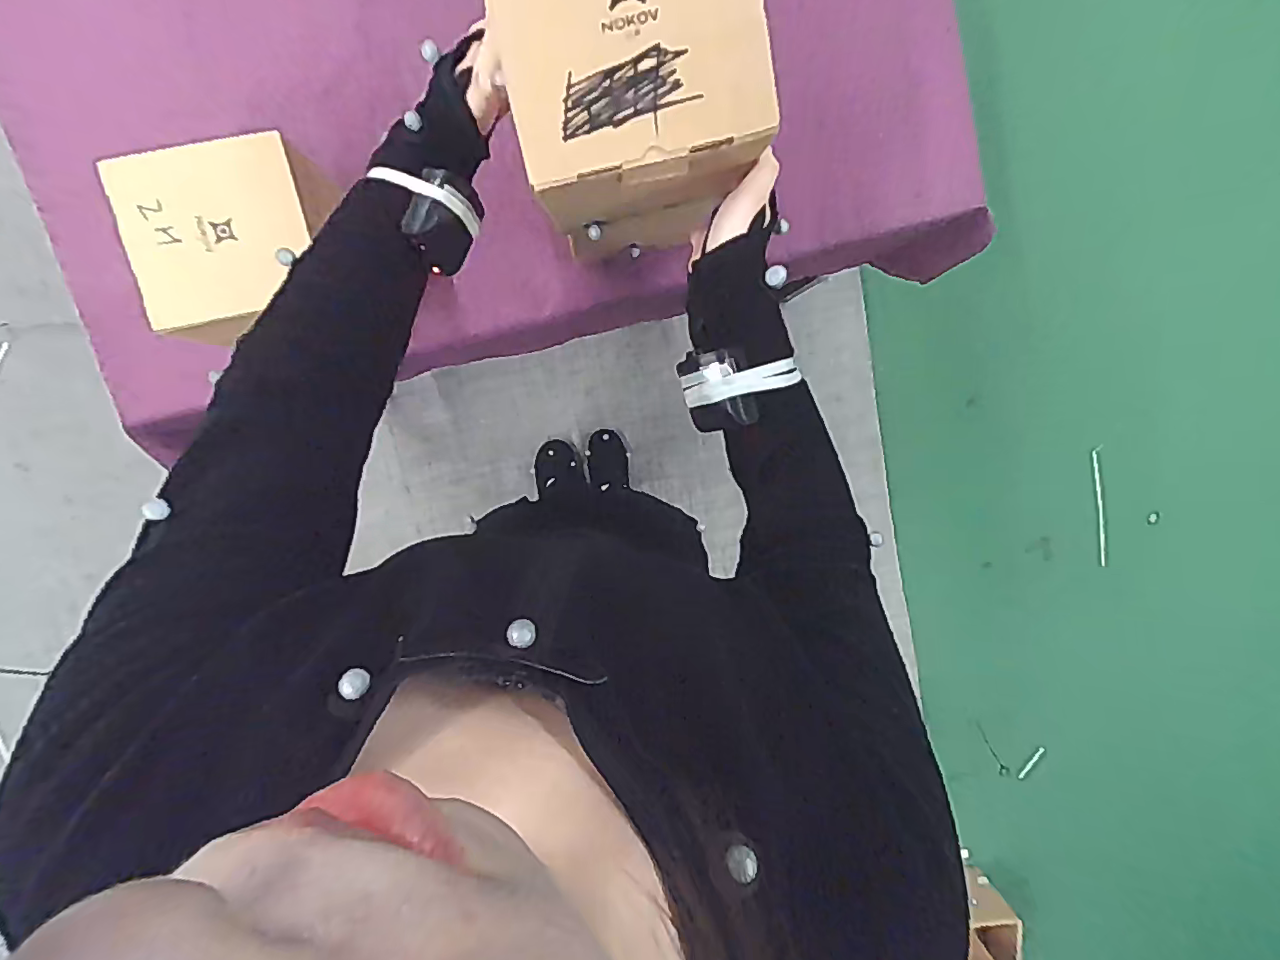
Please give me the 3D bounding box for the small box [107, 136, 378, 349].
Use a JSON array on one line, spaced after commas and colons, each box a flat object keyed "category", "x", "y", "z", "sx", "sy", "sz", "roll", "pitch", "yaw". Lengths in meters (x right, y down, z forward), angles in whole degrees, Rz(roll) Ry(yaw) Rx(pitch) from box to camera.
[{"category": "small box", "x": -0.427, "y": -0.256, "z": 0.621, "sx": 0.179, "sy": 0.176, "sz": 0.168, "roll": -13, "pitch": 97, "yaw": -3}]
